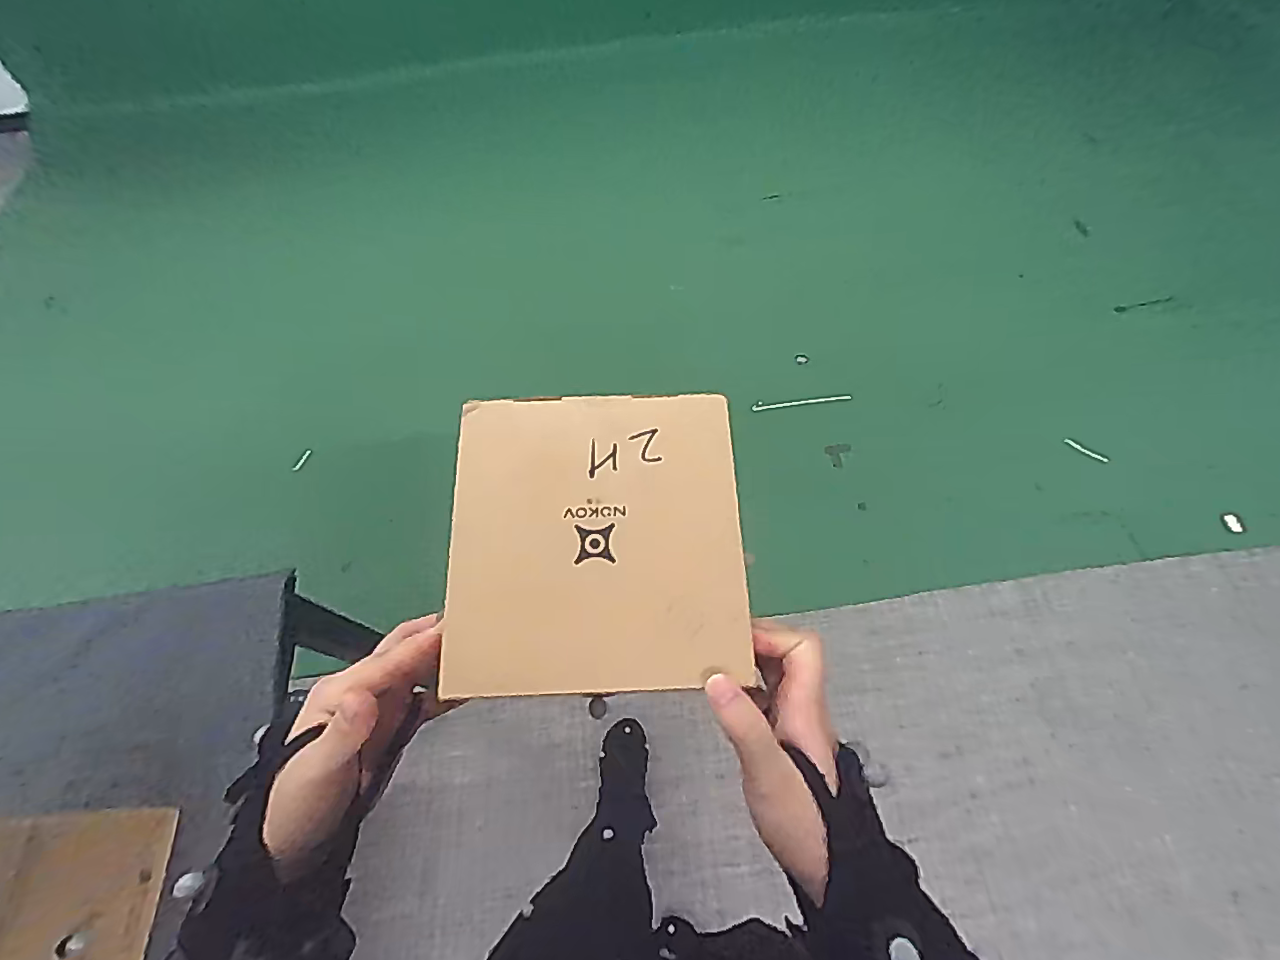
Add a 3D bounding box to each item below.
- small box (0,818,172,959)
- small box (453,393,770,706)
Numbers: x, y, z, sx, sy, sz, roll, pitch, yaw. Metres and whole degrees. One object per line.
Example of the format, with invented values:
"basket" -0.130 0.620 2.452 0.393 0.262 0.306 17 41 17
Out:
"small box" -0.599 0.424 0.501 0.179 0.176 0.168 -9 61 0
"small box" -0.017 0.057 0.377 0.168 0.176 0.179 -1 69 -2
